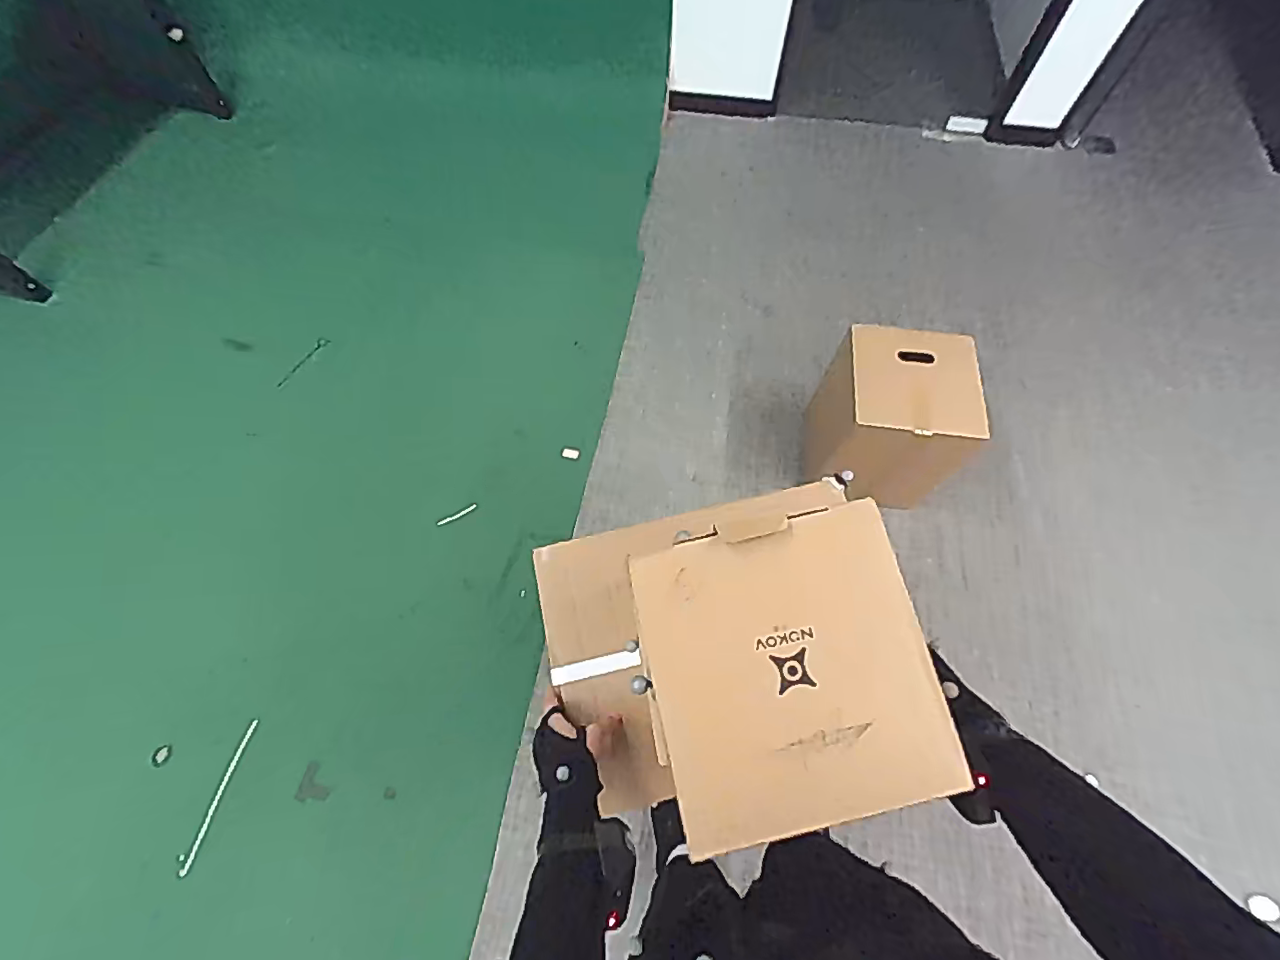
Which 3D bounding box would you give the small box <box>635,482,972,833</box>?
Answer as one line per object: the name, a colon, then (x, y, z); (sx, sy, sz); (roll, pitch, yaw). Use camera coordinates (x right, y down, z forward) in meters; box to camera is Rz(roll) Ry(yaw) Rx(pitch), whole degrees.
small box: (0.091, 0.119, 0.400); (0.168, 0.176, 0.179); (-13, 75, -3)
